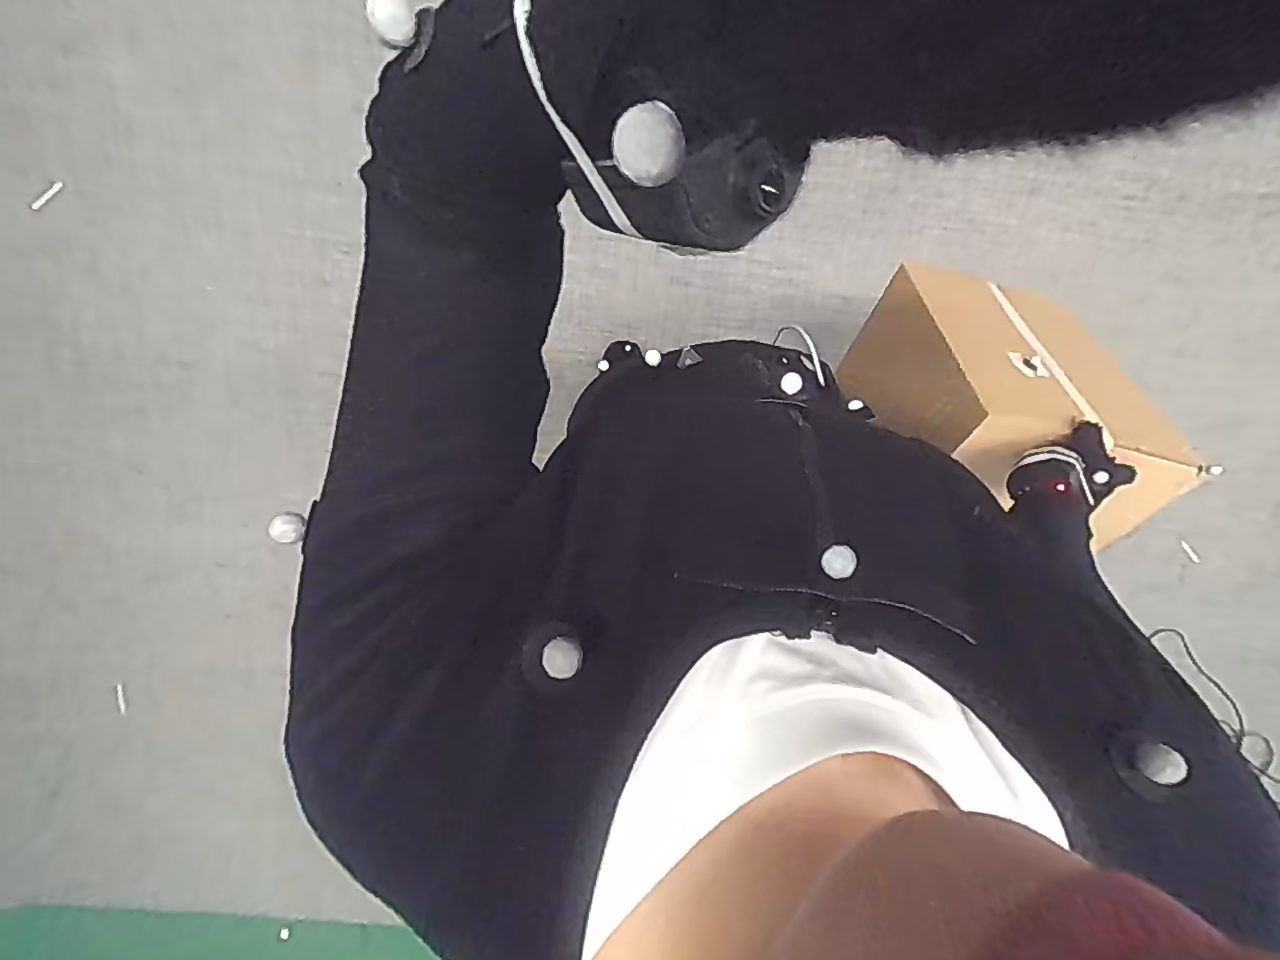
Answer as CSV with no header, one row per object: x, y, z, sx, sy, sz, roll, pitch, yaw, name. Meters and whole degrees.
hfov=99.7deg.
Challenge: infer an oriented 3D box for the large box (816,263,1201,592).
0.527,-0.087,0.890,0.320,0.408,0.320,12,137,-7,large box
